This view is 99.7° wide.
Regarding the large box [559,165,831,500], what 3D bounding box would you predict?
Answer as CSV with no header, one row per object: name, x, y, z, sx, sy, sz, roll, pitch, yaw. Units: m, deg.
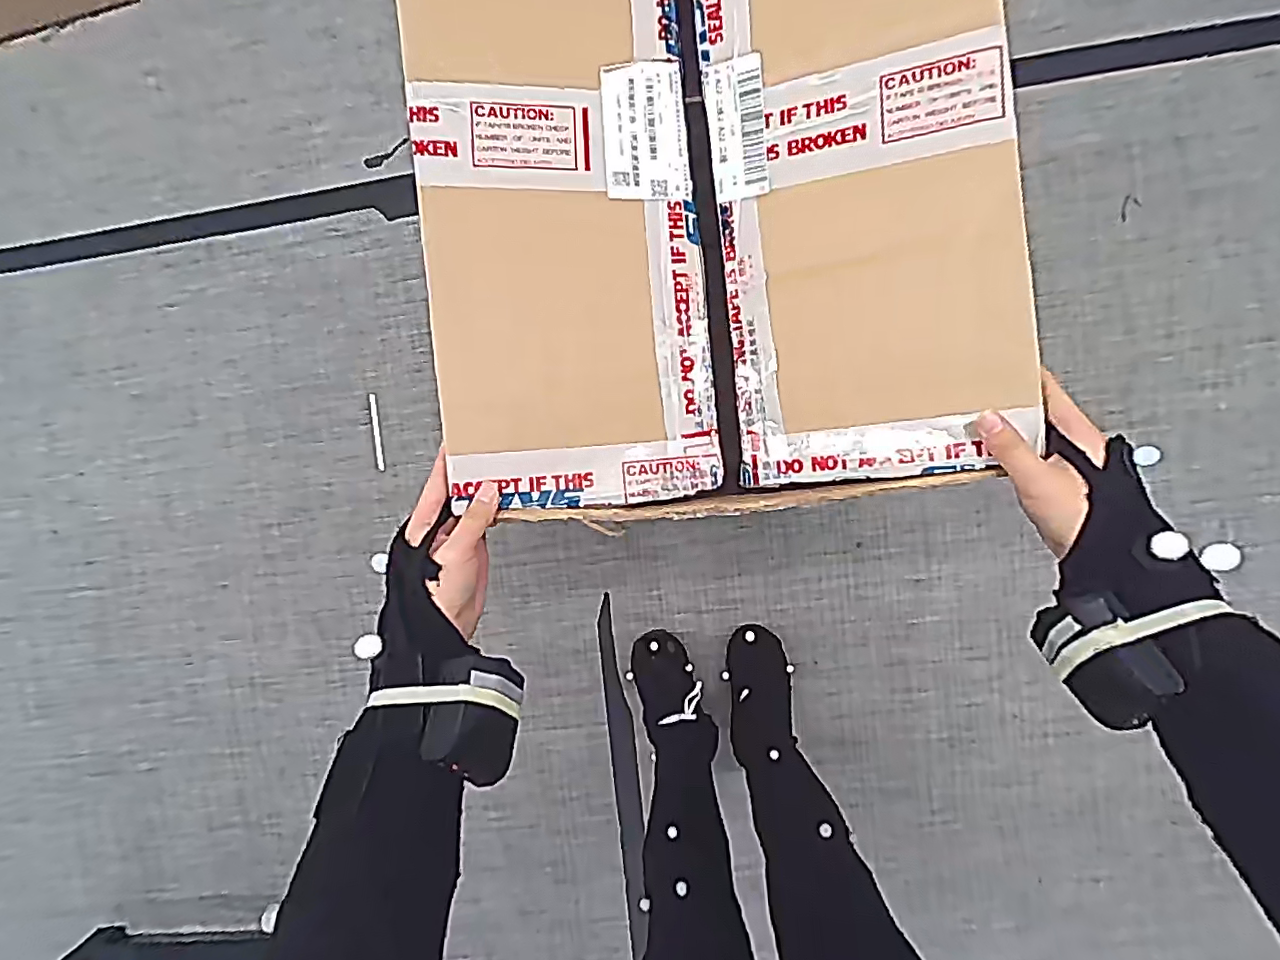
large box,0.080,-0.198,0.859,0.320,0.320,0.408,-8,93,5
